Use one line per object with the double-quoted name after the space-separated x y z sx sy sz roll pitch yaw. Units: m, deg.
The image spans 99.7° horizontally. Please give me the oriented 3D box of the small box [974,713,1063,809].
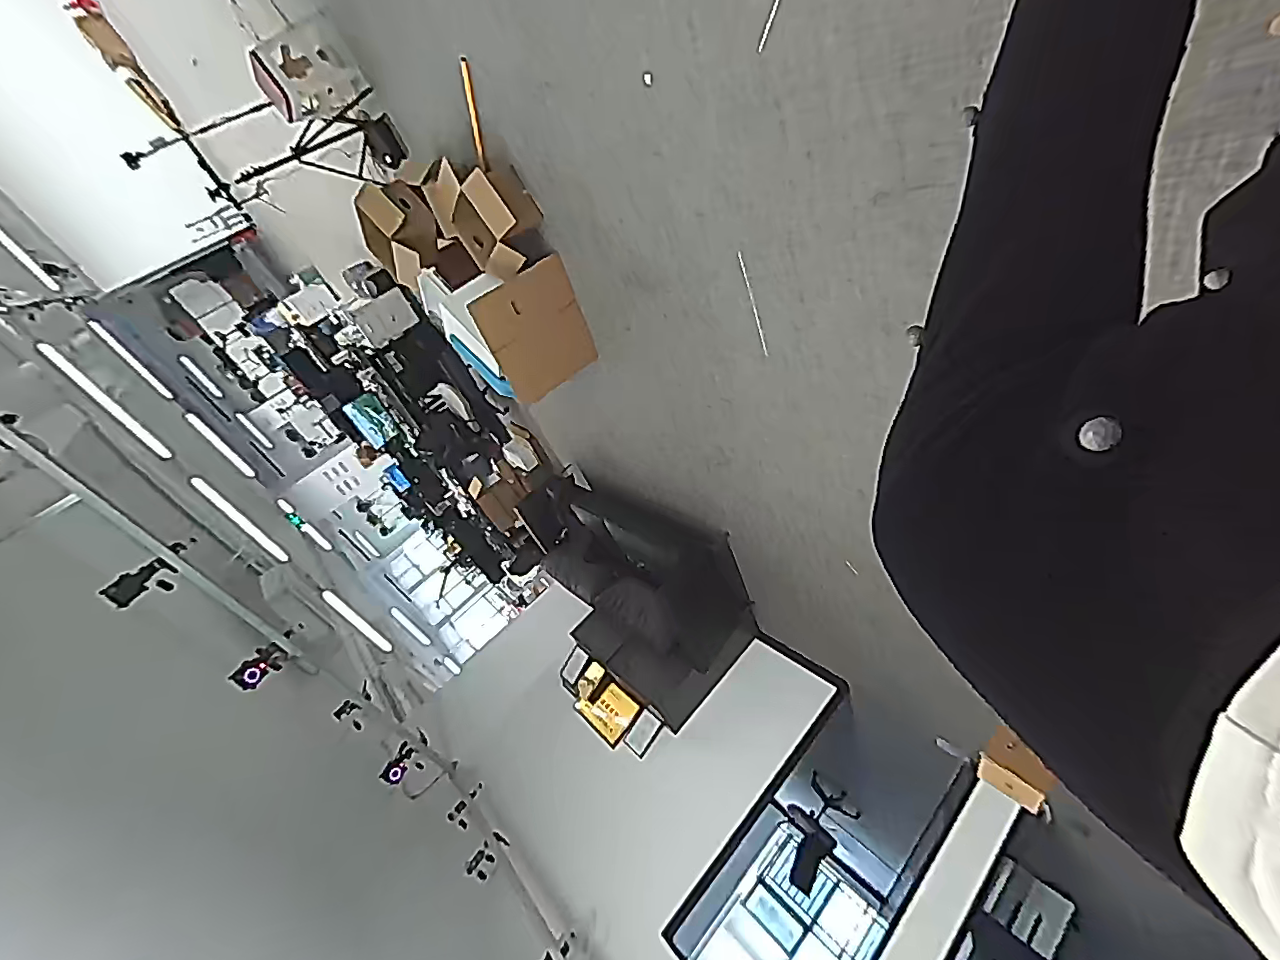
1.148 0.847 1.641 0.168 0.176 0.179 27 152 42 "small box"
